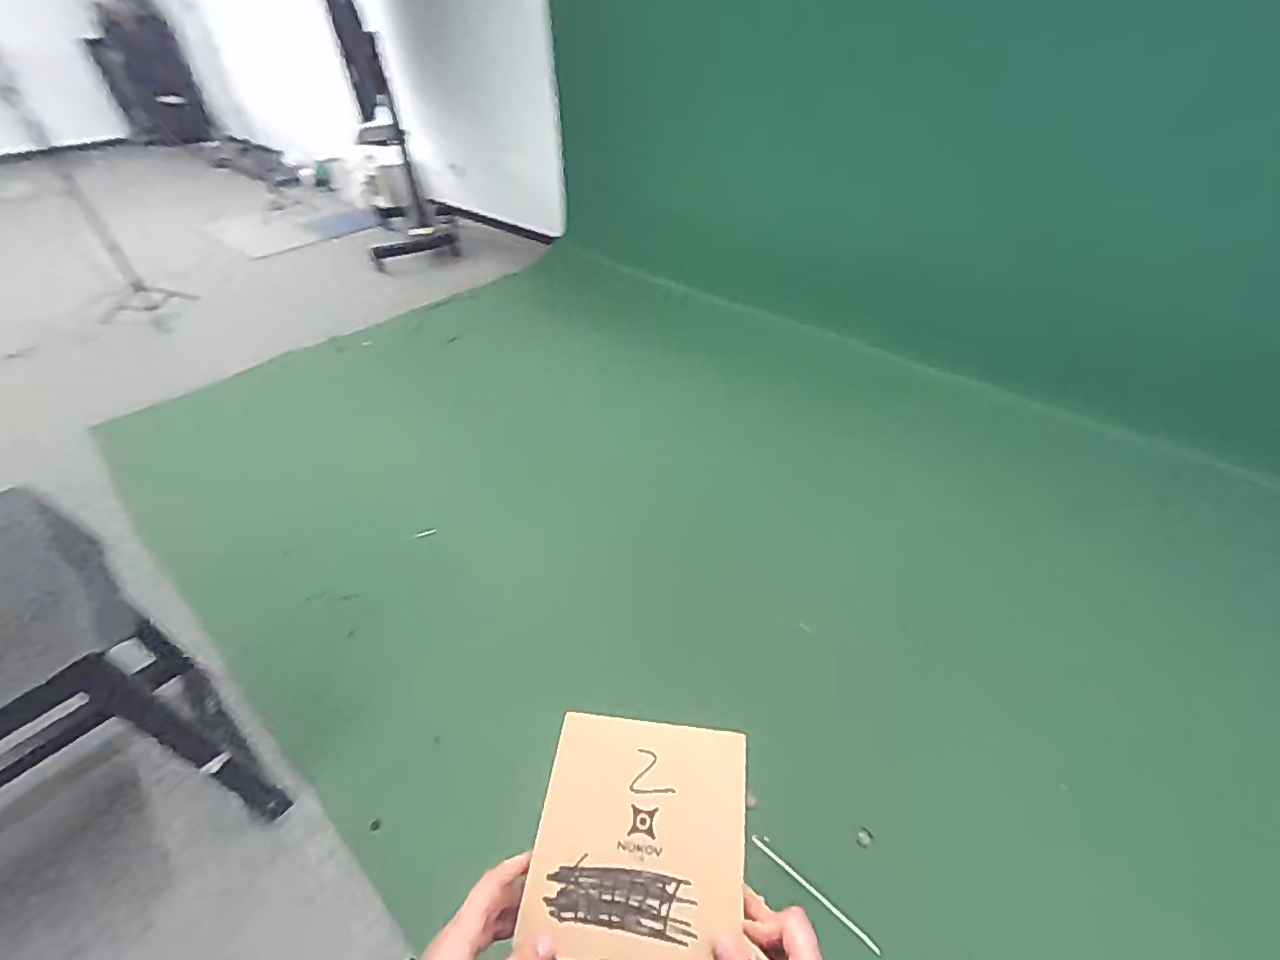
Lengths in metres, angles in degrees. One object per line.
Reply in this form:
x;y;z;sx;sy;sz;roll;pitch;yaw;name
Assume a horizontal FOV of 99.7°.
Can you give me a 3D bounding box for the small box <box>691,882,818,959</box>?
0.218;0.946;1.061;0.168;0.176;0.179;-34;52;-31;small box
